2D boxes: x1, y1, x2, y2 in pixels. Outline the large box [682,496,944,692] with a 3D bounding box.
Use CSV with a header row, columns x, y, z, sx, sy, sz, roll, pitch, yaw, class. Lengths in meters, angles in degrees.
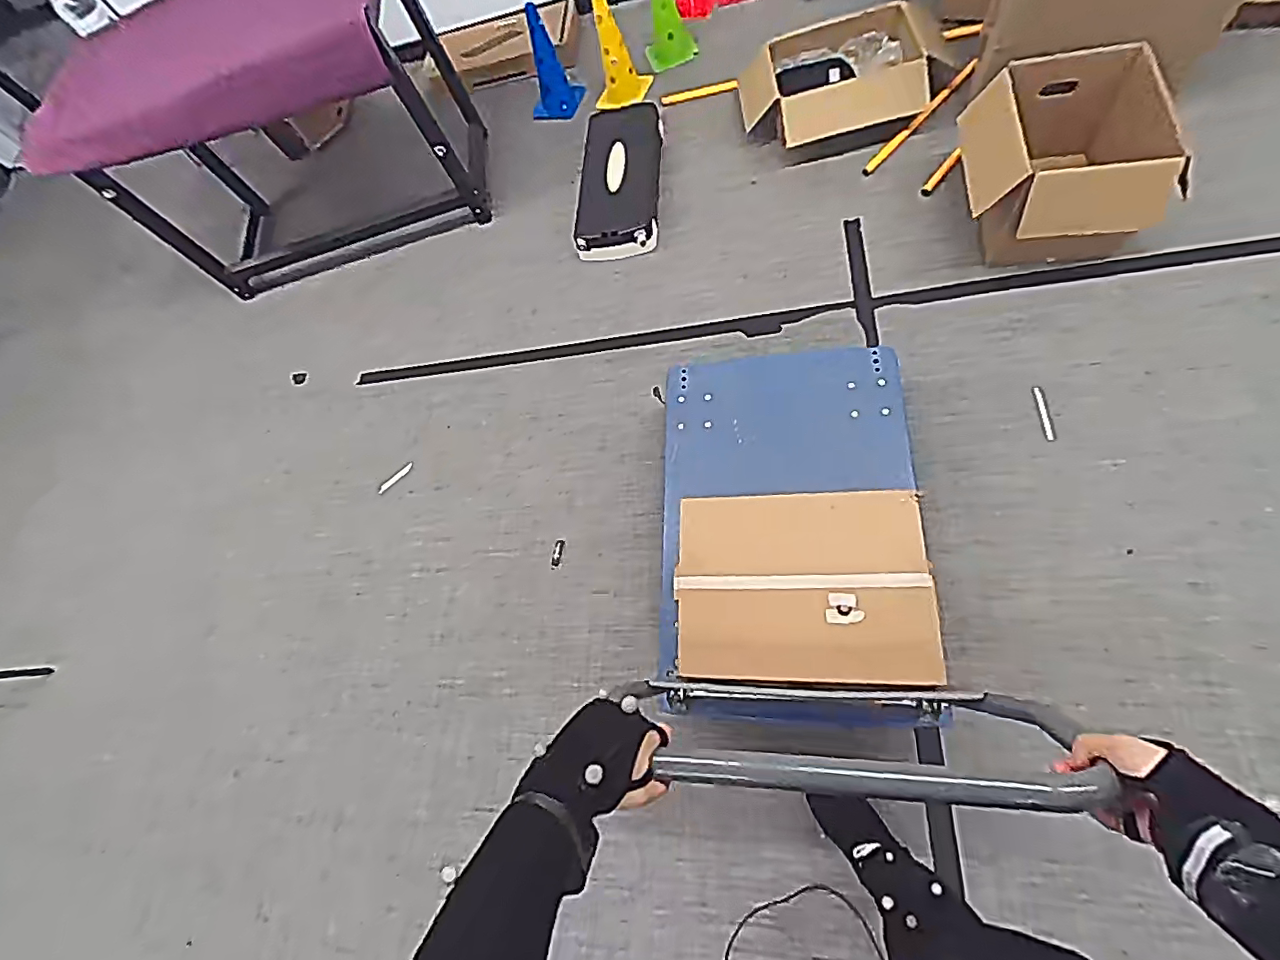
x,y,z,sx,sy,sz,roll,pitch,yaw,class
0.298,0.236,1.037,0.408,0.320,0.320,-3,68,12,large box
